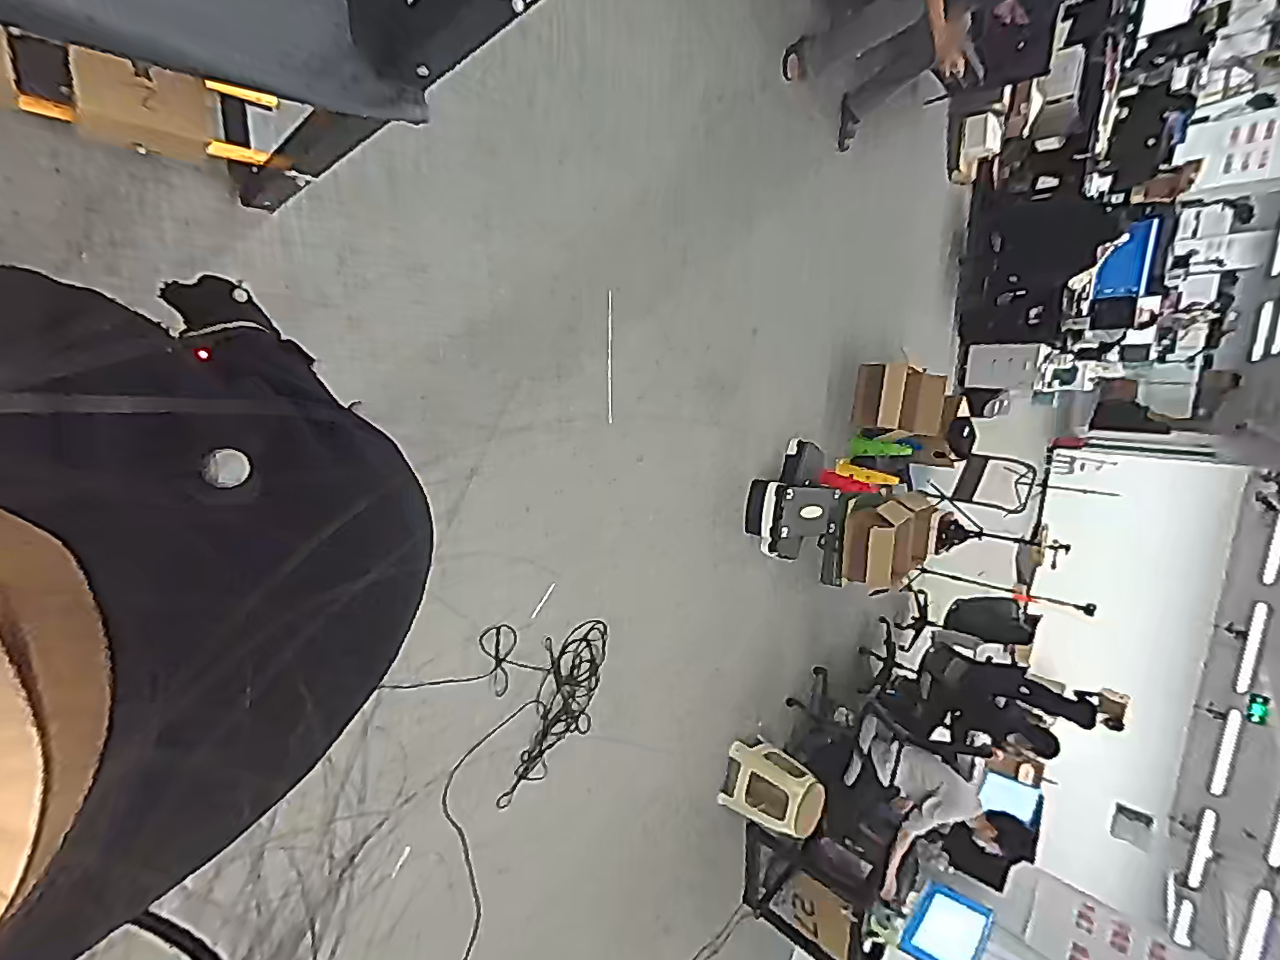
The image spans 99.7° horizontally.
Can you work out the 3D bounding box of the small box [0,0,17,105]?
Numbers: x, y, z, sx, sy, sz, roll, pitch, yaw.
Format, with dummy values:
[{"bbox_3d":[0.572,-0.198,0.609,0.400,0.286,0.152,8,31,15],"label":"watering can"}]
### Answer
[{"bbox_3d":[-0.998,-0.655,0.743,0.168,0.176,0.179,-11,107,-45],"label":"small box"}]
